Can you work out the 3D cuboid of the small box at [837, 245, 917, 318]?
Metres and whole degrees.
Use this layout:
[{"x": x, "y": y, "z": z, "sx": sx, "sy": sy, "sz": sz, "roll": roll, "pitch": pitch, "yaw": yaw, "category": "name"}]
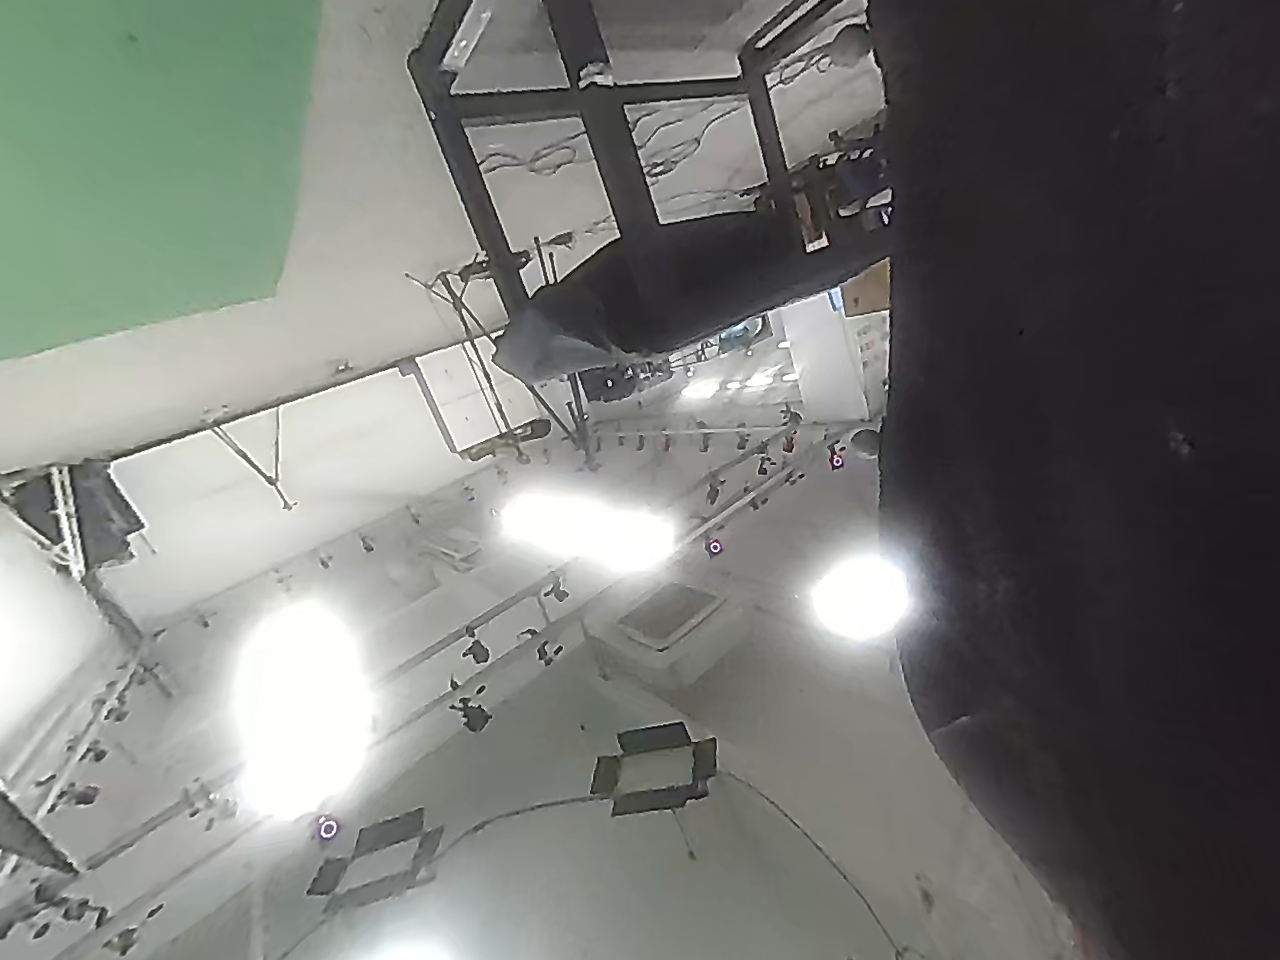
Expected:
[{"x": 0.739, "y": -0.623, "z": 1.696, "sx": 0.168, "sy": 0.176, "sz": 0.179, "roll": -30, "pitch": -159, "yaw": -34, "category": "small box"}]
